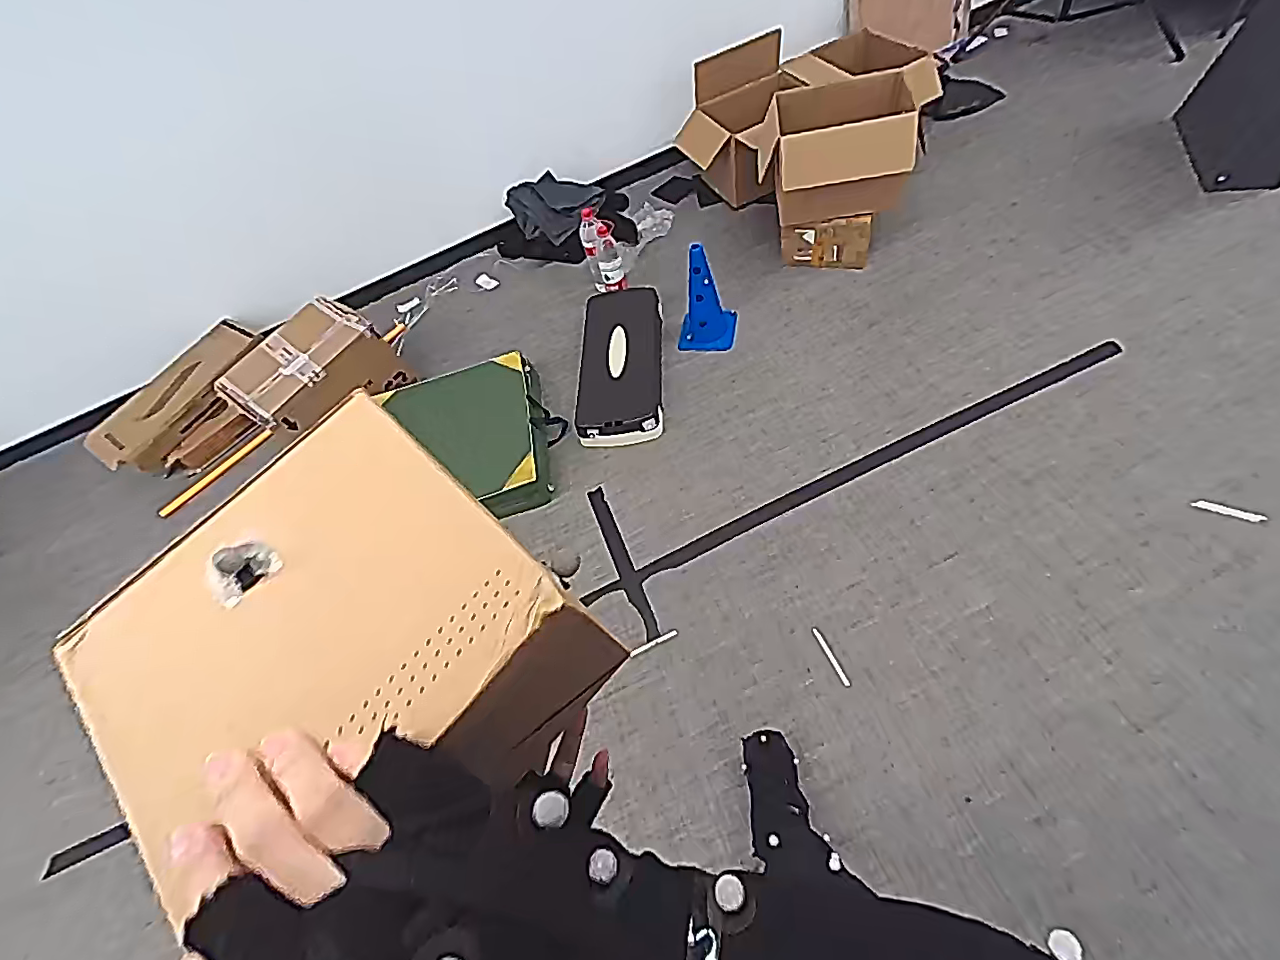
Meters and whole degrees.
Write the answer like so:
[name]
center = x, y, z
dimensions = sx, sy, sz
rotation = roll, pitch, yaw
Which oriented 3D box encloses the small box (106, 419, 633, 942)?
[small box]
center = -0.131, 0.104, 0.317
dimensions = 0.176, 0.168, 0.179
rotation = 39, 77, 22
